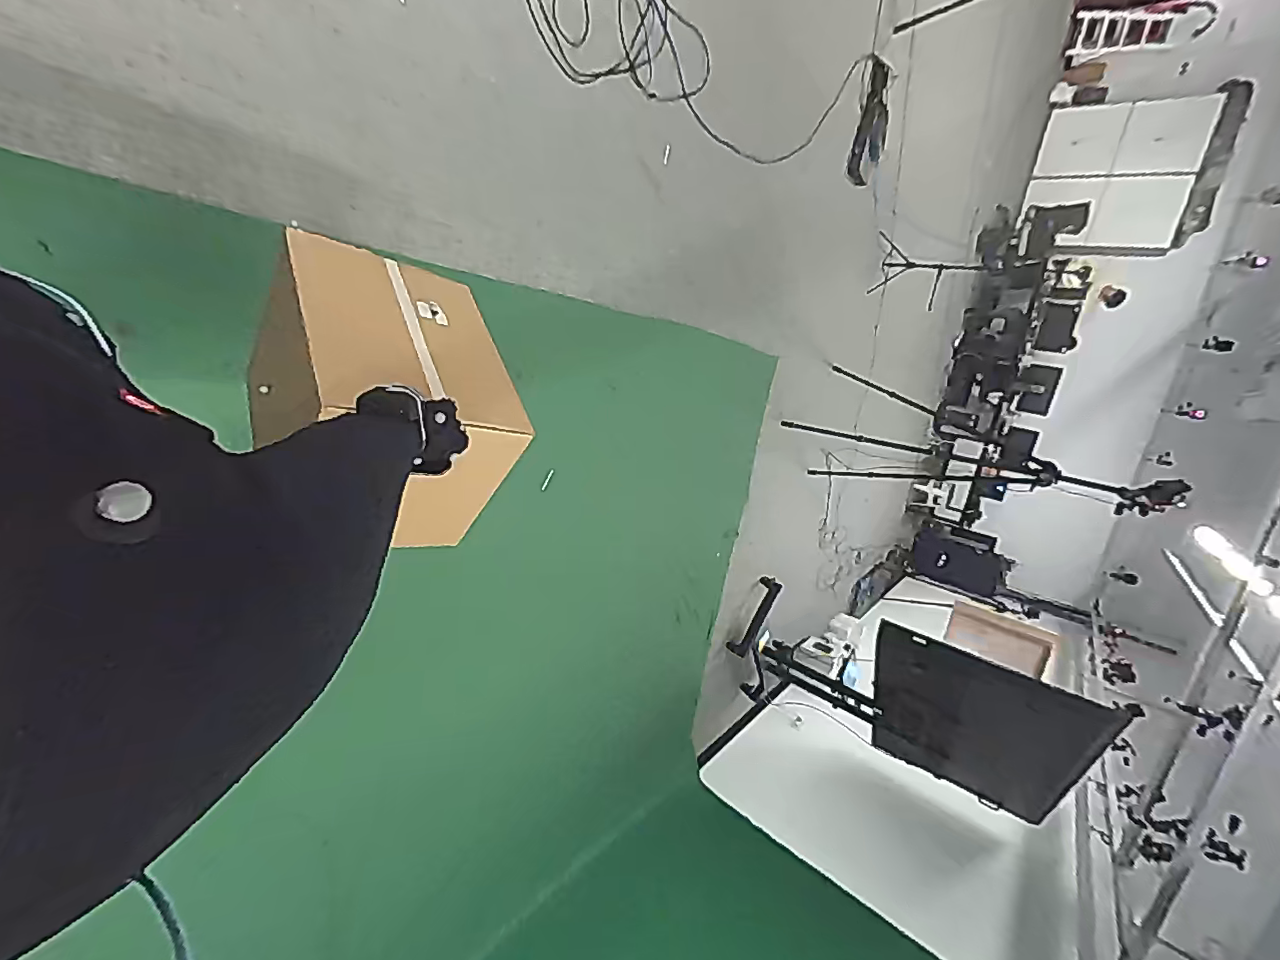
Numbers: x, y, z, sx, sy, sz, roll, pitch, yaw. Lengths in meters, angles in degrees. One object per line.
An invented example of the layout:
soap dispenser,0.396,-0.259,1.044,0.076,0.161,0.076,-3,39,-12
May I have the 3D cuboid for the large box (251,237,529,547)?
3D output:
large box,-0.456,-0.135,0.949,0.320,0.408,0.320,5,135,-46
